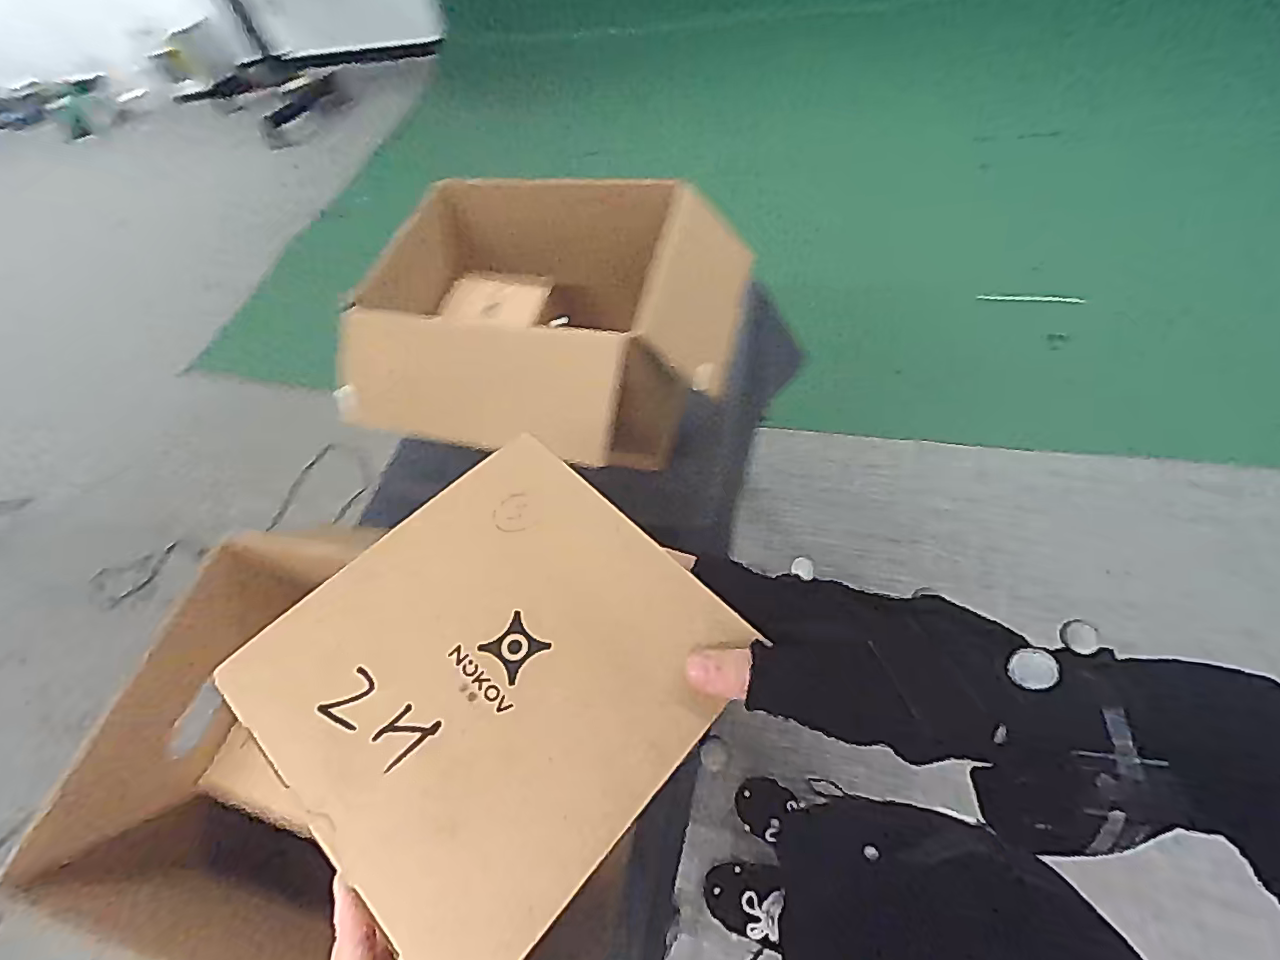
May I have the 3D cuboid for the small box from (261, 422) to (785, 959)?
[{"bbox_3d":[-0.053,0.107,0.310,0.179,0.176,0.168,-40,70,-21],"label":"small box"}]
